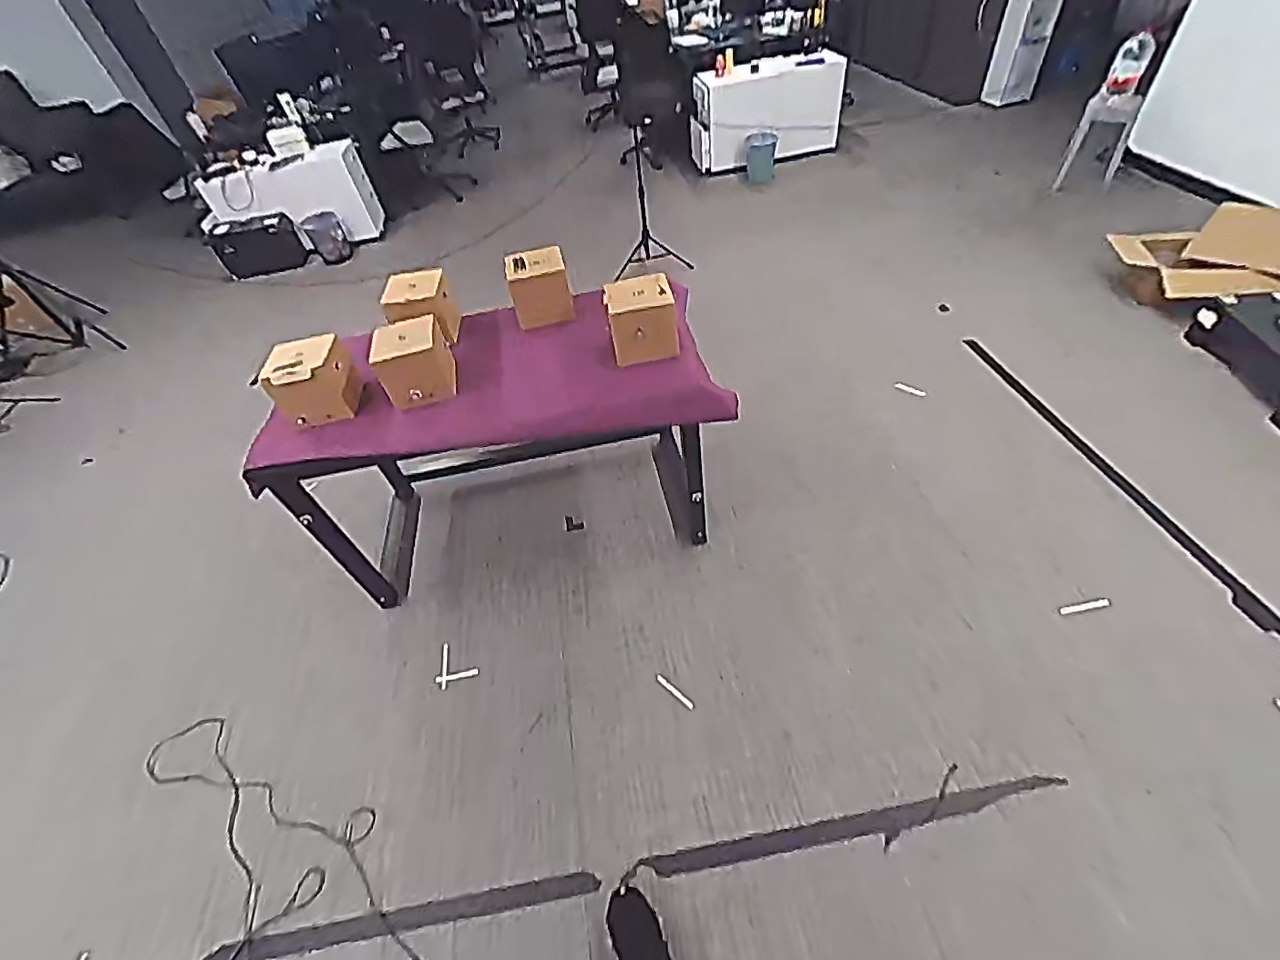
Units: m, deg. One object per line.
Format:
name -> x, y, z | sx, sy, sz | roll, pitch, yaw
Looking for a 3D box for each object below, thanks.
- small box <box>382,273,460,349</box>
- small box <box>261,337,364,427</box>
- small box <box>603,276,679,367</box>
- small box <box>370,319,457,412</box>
small box -> -0.672, -0.518, 1.683 | 0.168, 0.176, 0.179 | -9, 48, 0
small box -> -0.887, -0.262, 1.485 | 0.168, 0.176, 0.179 | -13, 46, -3
small box -> 0.004, -0.434, 1.497 | 0.179, 0.176, 0.168 | -11, 47, 1
small box -> -0.618, -0.315, 1.493 | 0.168, 0.176, 0.179 | -16, 47, -4
